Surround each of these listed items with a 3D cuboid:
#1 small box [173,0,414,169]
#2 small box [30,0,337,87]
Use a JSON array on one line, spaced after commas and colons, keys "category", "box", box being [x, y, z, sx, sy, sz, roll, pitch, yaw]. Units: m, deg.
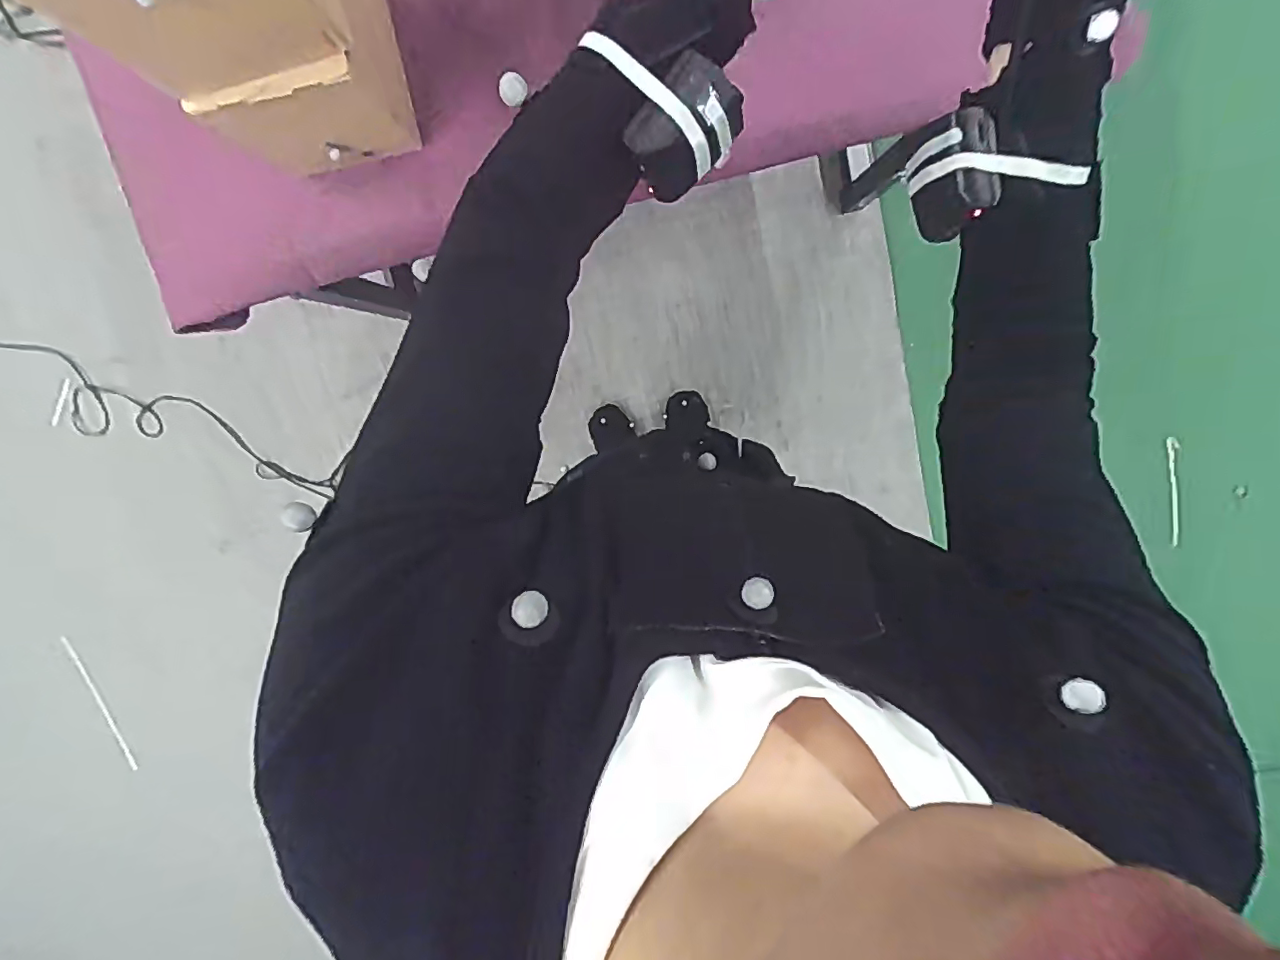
[{"category": "small box", "box": [-0.365, -0.462, 0.567, 0.168, 0.176, 0.179, -10, 102, 2]}, {"category": "small box", "box": [-0.362, -0.441, 0.405, 0.179, 0.176, 0.168, -14, 101, 3]}]
